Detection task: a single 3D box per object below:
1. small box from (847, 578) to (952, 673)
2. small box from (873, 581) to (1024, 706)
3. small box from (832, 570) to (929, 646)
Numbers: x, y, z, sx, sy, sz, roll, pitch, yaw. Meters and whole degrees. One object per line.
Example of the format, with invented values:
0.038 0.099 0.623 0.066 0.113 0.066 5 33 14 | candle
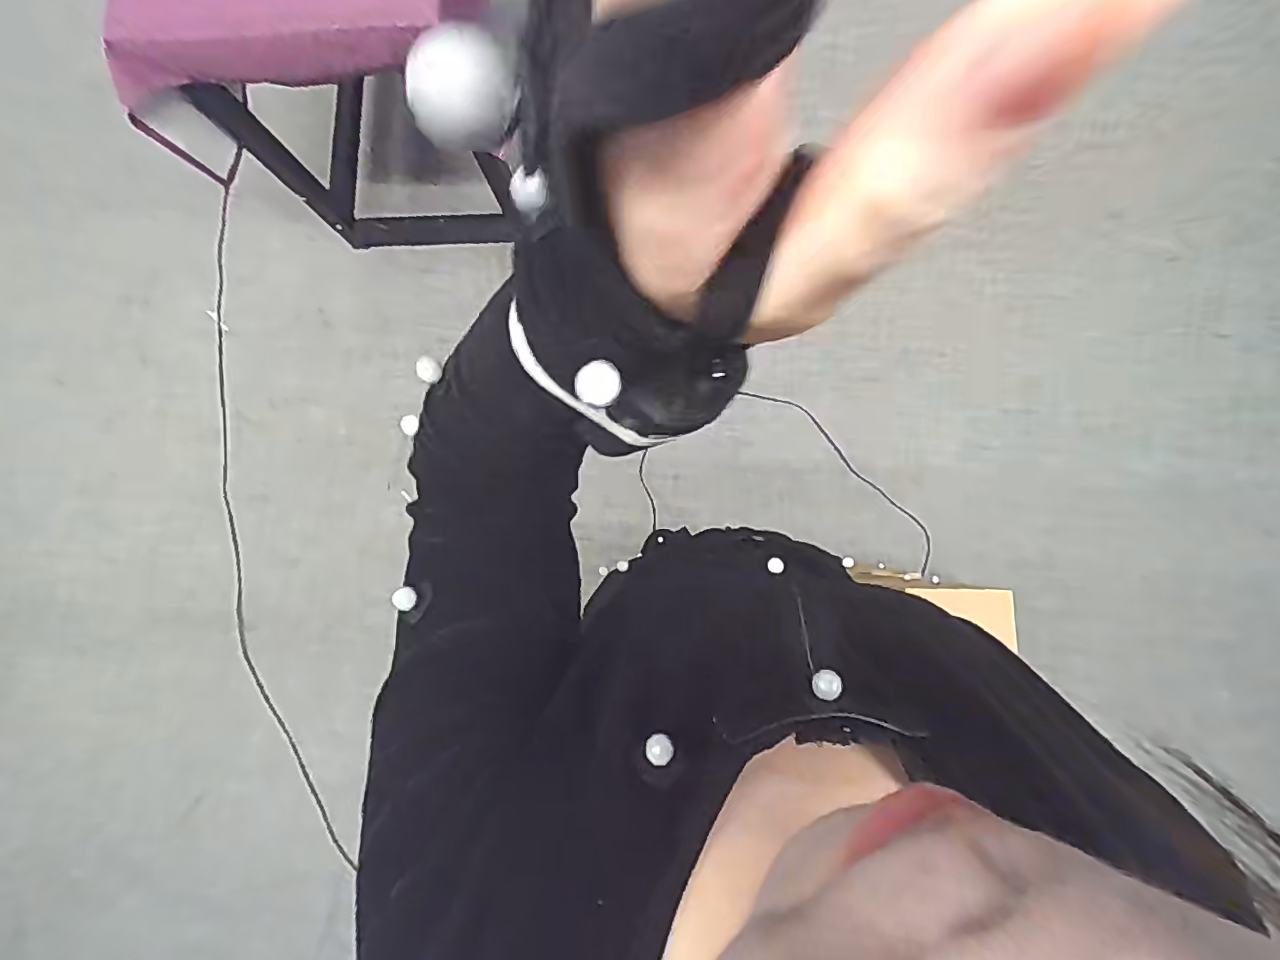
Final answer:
0.518 0.284 1.069 0.179 0.176 0.168 0 84 3 | small box
0.503 0.263 0.907 0.168 0.176 0.179 1 83 4 | small box
0.542 0.296 1.231 0.168 0.176 0.179 0 84 4 | small box
